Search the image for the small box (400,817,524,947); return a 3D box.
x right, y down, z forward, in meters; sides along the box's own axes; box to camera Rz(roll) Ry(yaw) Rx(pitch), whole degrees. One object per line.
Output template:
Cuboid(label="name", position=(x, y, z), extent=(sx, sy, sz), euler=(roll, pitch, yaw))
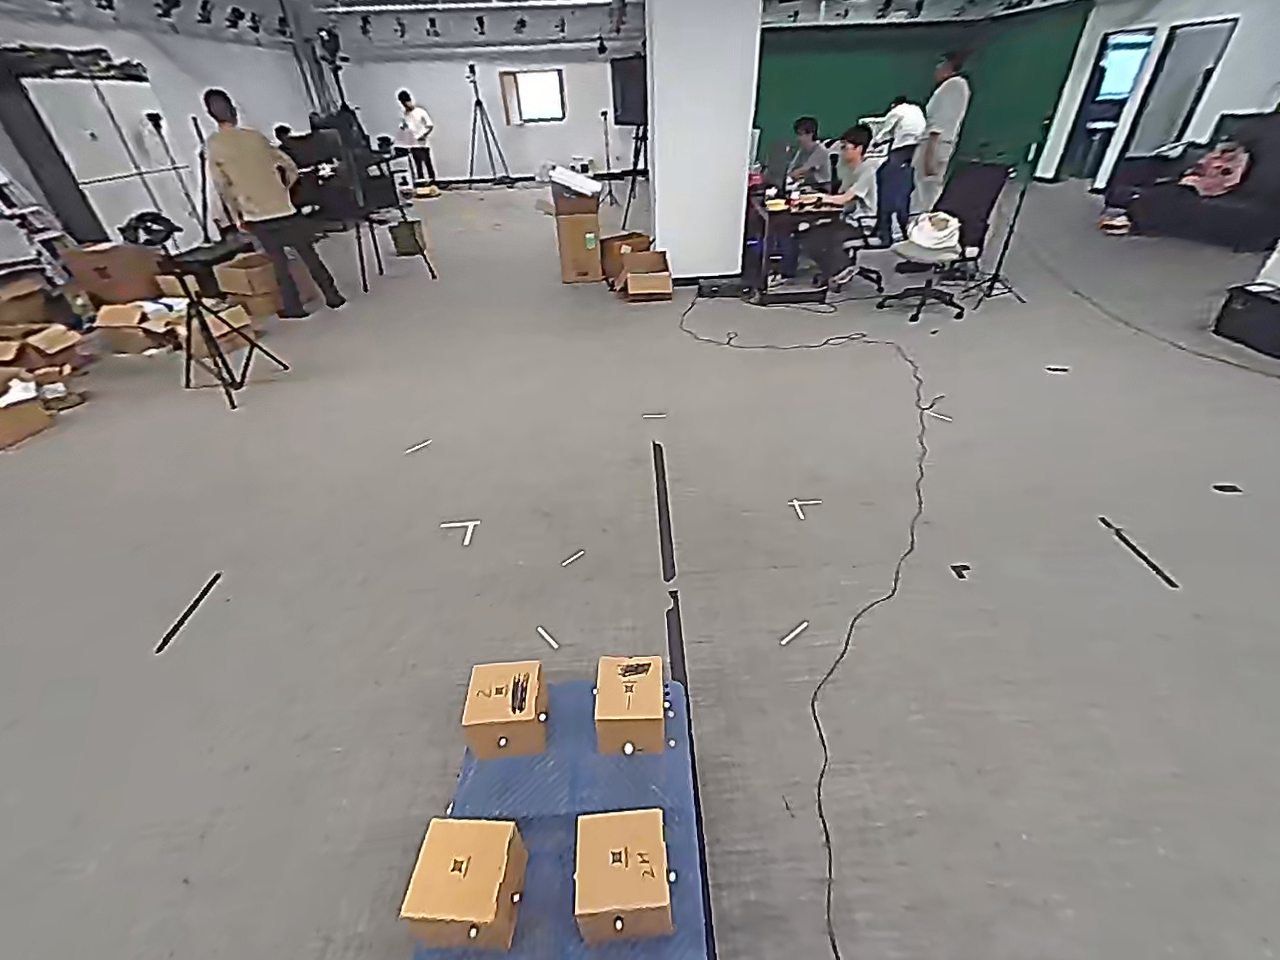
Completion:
Cuboid(label="small box", position=(-0.345, 0.805, 1.084), extent=(0.179, 0.176, 0.168), euler=(1, 35, 3))

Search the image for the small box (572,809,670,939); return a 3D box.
Cuboid(label="small box", position=(-0.035, 0.790, 1.083), extent=(0.179, 0.176, 0.168), euler=(-4, 36, -1))

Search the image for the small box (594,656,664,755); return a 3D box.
Cuboid(label="small box", position=(-0.023, 0.574, 1.385), extent=(0.168, 0.176, 0.179), euler=(-1, 37, 2))
